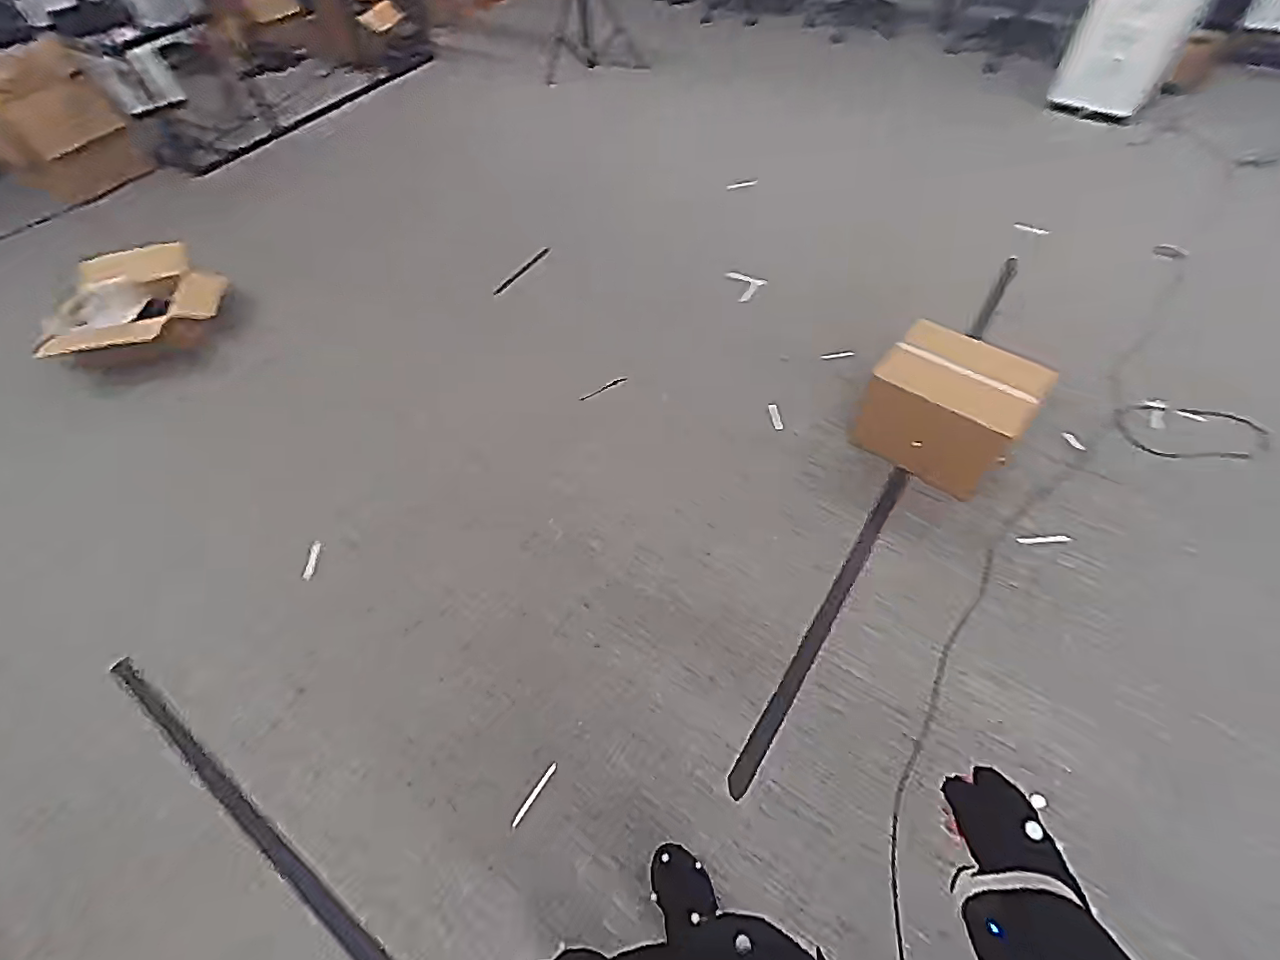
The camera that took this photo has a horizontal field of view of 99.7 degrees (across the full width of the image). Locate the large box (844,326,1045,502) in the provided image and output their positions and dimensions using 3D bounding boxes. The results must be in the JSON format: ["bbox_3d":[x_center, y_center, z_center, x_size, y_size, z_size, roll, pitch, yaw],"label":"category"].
[{"bbox_3d":[0.919,-0.207,1.684,0.408,0.320,0.320,35,65,25],"label":"large box"}]
